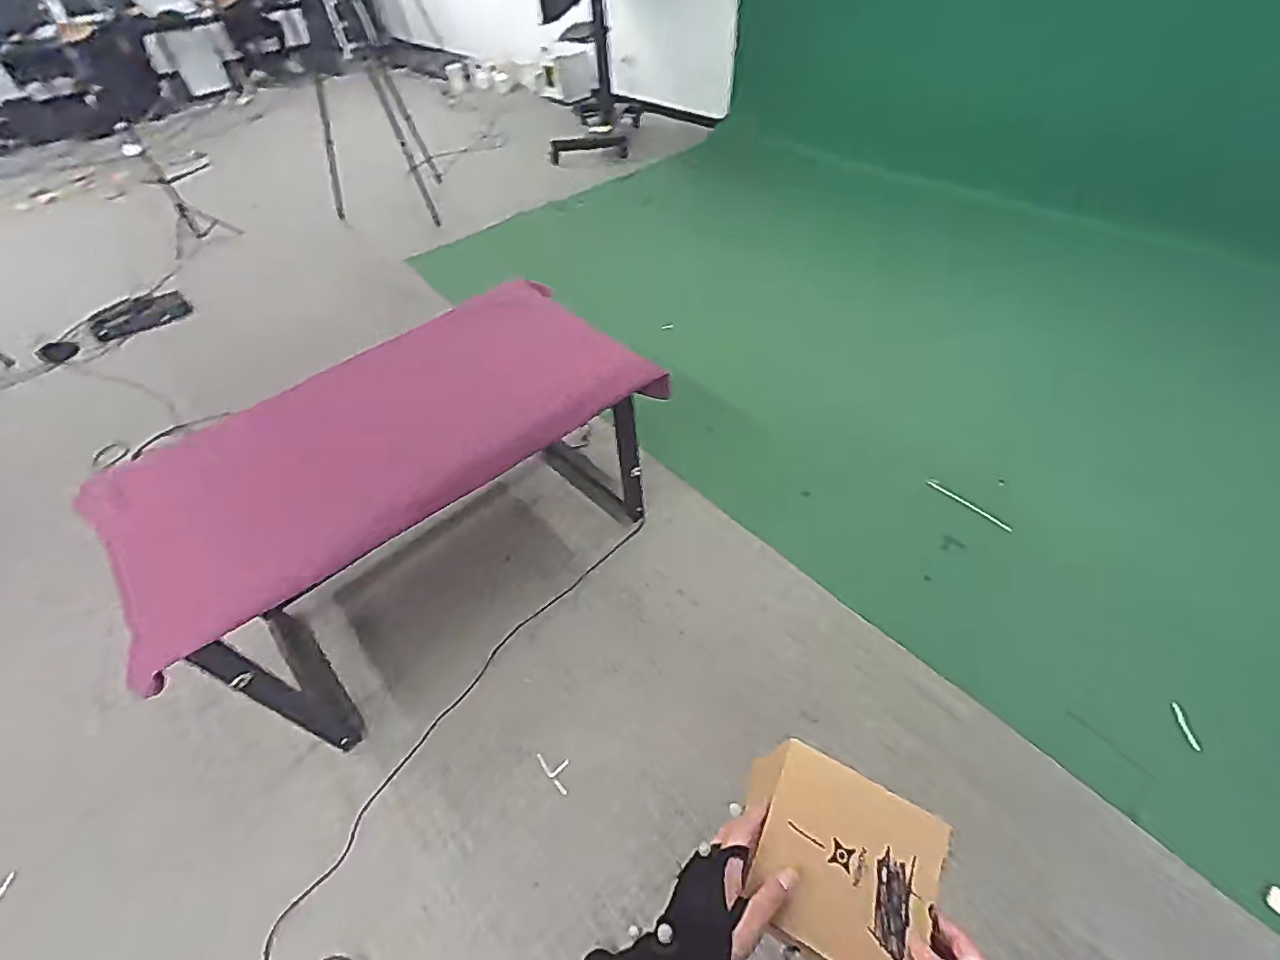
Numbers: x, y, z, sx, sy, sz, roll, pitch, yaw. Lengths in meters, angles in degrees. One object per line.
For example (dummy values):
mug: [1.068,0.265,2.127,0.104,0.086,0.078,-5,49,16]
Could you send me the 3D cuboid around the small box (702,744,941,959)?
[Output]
small box: [0.187,0.422,0.590,0.179,0.176,0.168,26,56,13]
